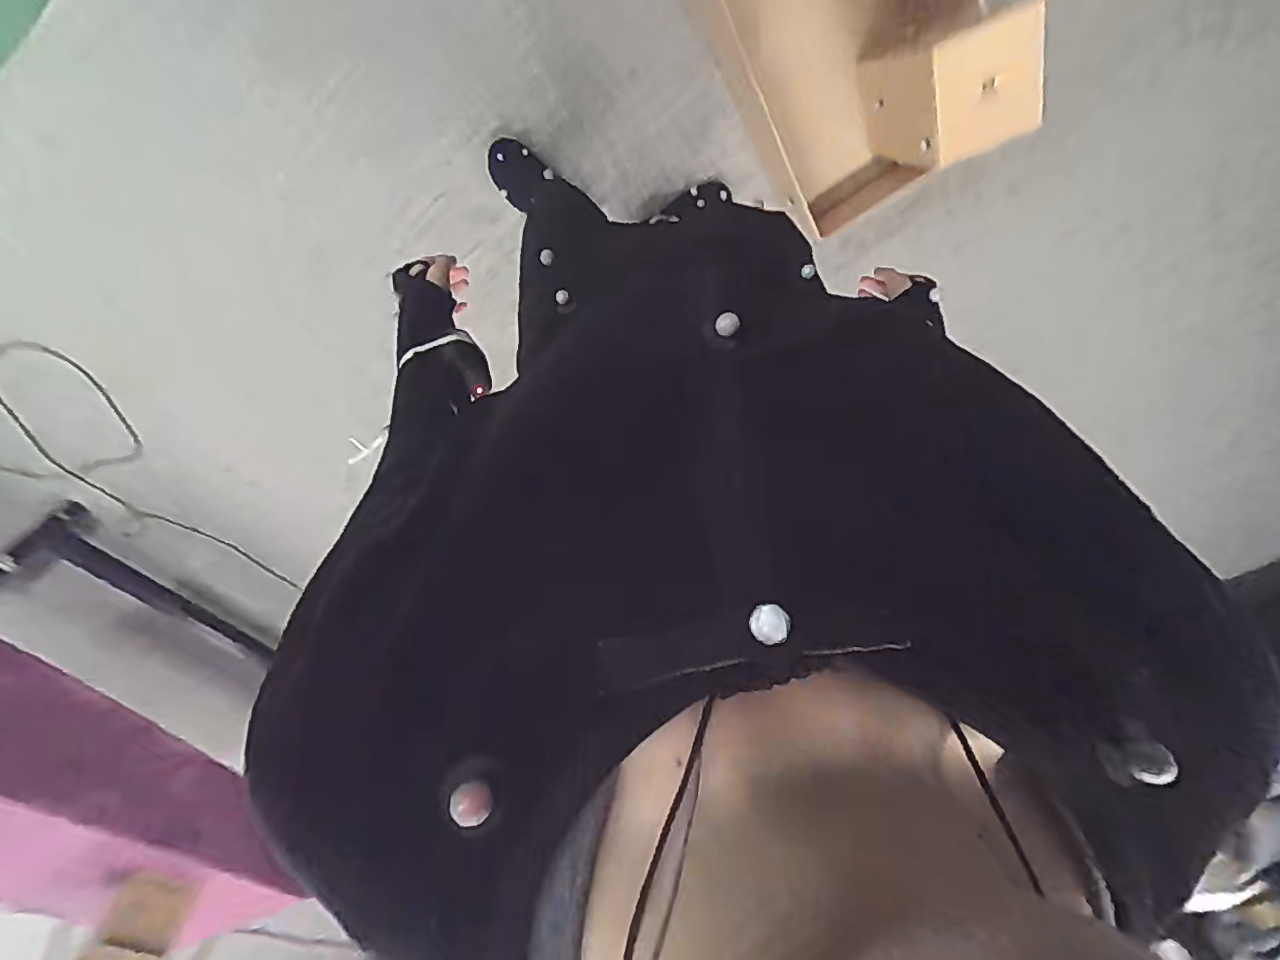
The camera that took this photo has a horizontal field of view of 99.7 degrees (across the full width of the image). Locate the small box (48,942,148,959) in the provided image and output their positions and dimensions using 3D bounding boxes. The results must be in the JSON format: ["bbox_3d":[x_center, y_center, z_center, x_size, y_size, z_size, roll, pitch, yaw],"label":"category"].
[{"bbox_3d":[-1.338,1.226,1.274,0.168,0.176,0.179,-36,119,19],"label":"small box"}]

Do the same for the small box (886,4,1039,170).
[{"bbox_3d":[0.539,-0.658,0.922,0.168,0.176,0.179,-18,124,10],"label":"small box"}]

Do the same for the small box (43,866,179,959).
[{"bbox_3d":[-1.369,1.145,1.415,0.179,0.176,0.168,-35,118,20],"label":"small box"}]
